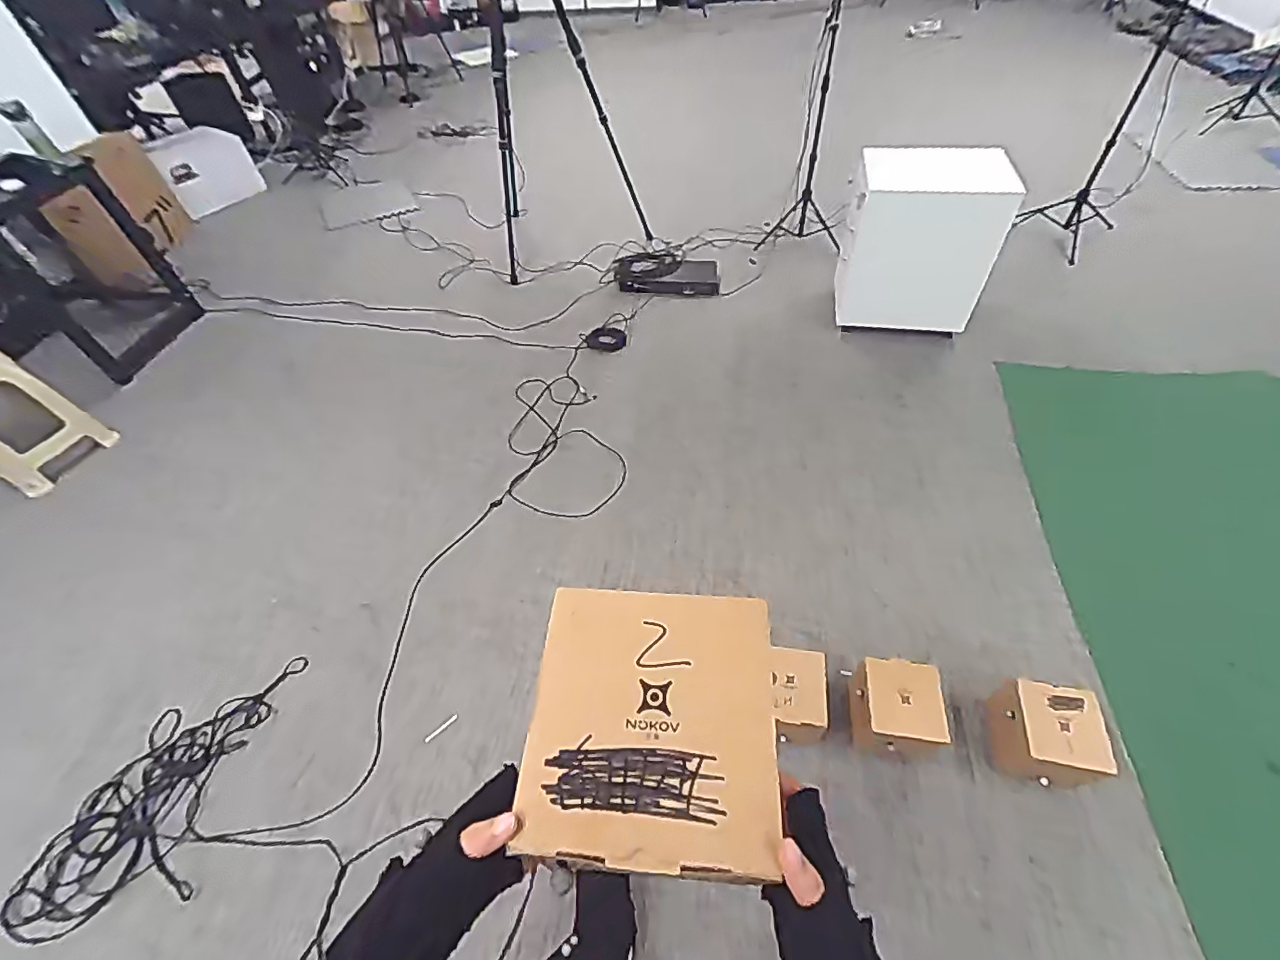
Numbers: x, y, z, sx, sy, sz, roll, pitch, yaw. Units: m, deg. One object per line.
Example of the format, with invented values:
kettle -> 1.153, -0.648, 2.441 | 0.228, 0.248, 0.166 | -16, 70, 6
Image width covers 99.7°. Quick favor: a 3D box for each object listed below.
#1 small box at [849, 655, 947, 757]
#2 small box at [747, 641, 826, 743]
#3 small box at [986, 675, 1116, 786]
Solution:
small box -> 0.608, 0.544, 1.296 | 0.168, 0.176, 0.179 | 4, 49, 9
small box -> 0.355, 0.523, 1.329 | 0.168, 0.176, 0.179 | 5, 51, 10
small box -> 0.928, 0.576, 1.242 | 0.168, 0.176, 0.179 | 8, 52, 11
